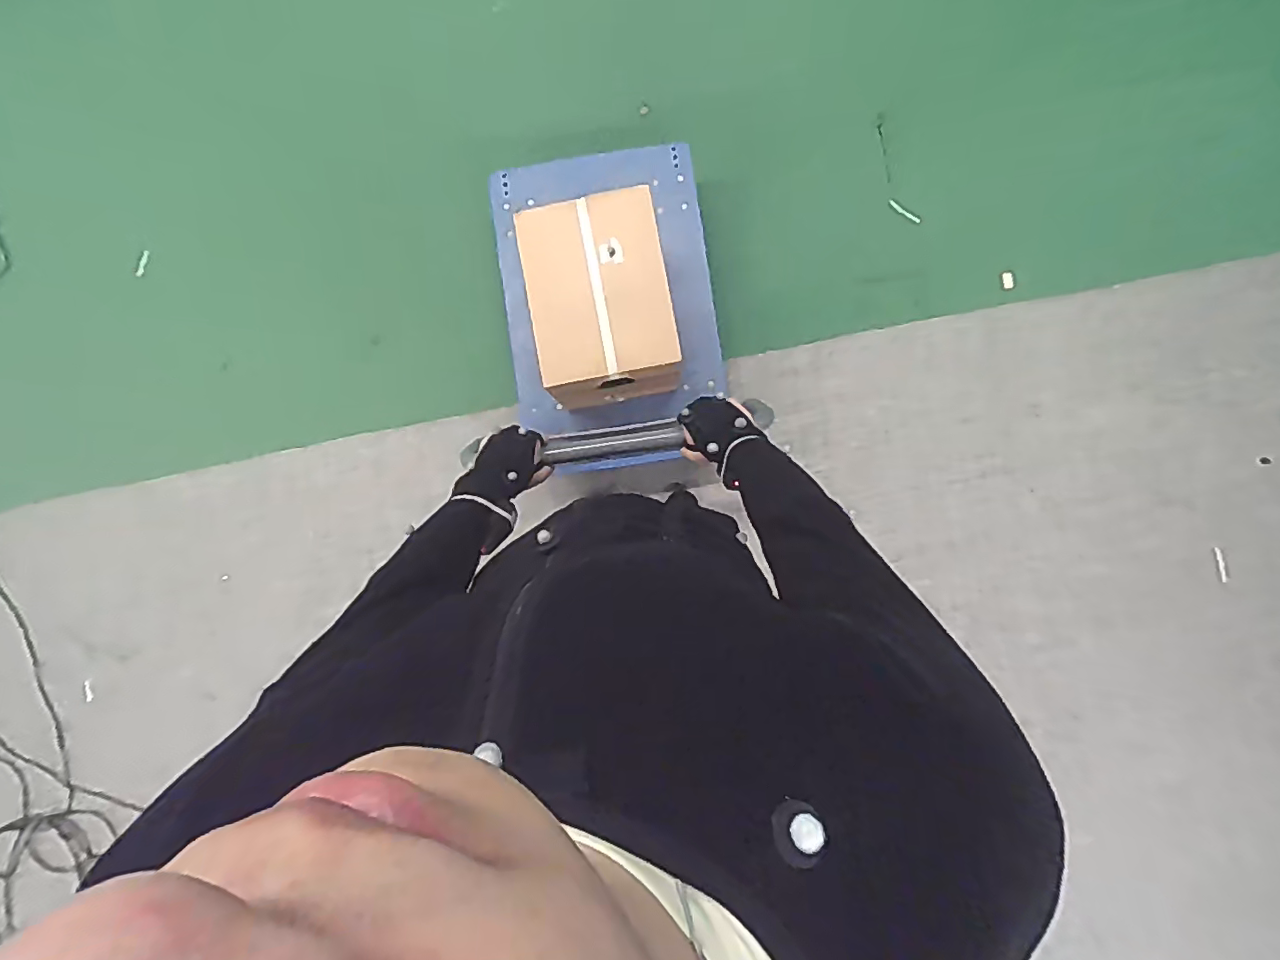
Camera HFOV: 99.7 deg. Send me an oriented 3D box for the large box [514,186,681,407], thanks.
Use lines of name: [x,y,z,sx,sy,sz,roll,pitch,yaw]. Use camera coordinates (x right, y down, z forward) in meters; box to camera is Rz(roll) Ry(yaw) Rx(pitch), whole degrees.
large box: [-0.089,-0.428,1.349,0.320,0.320,0.408,-11,88,2]
